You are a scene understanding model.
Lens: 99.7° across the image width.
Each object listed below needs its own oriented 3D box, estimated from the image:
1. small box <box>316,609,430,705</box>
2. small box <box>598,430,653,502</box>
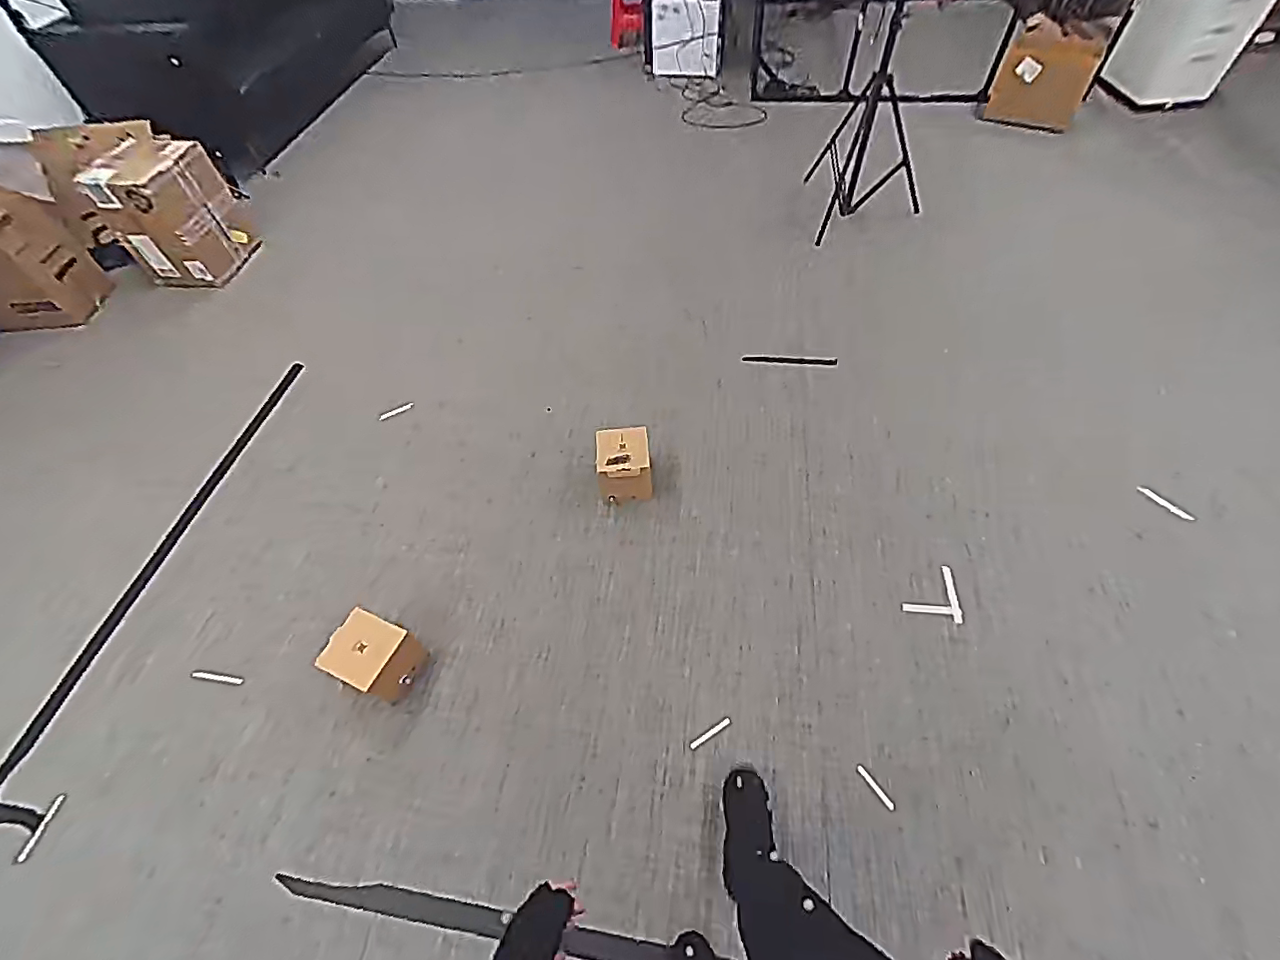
[{"bbox_3d":[-0.696,0.472,1.429,0.179,0.176,0.168,19,58,15],"label":"small box"},{"bbox_3d":[-0.047,-0.038,1.765,0.168,0.176,0.179,-4,53,0],"label":"small box"}]
